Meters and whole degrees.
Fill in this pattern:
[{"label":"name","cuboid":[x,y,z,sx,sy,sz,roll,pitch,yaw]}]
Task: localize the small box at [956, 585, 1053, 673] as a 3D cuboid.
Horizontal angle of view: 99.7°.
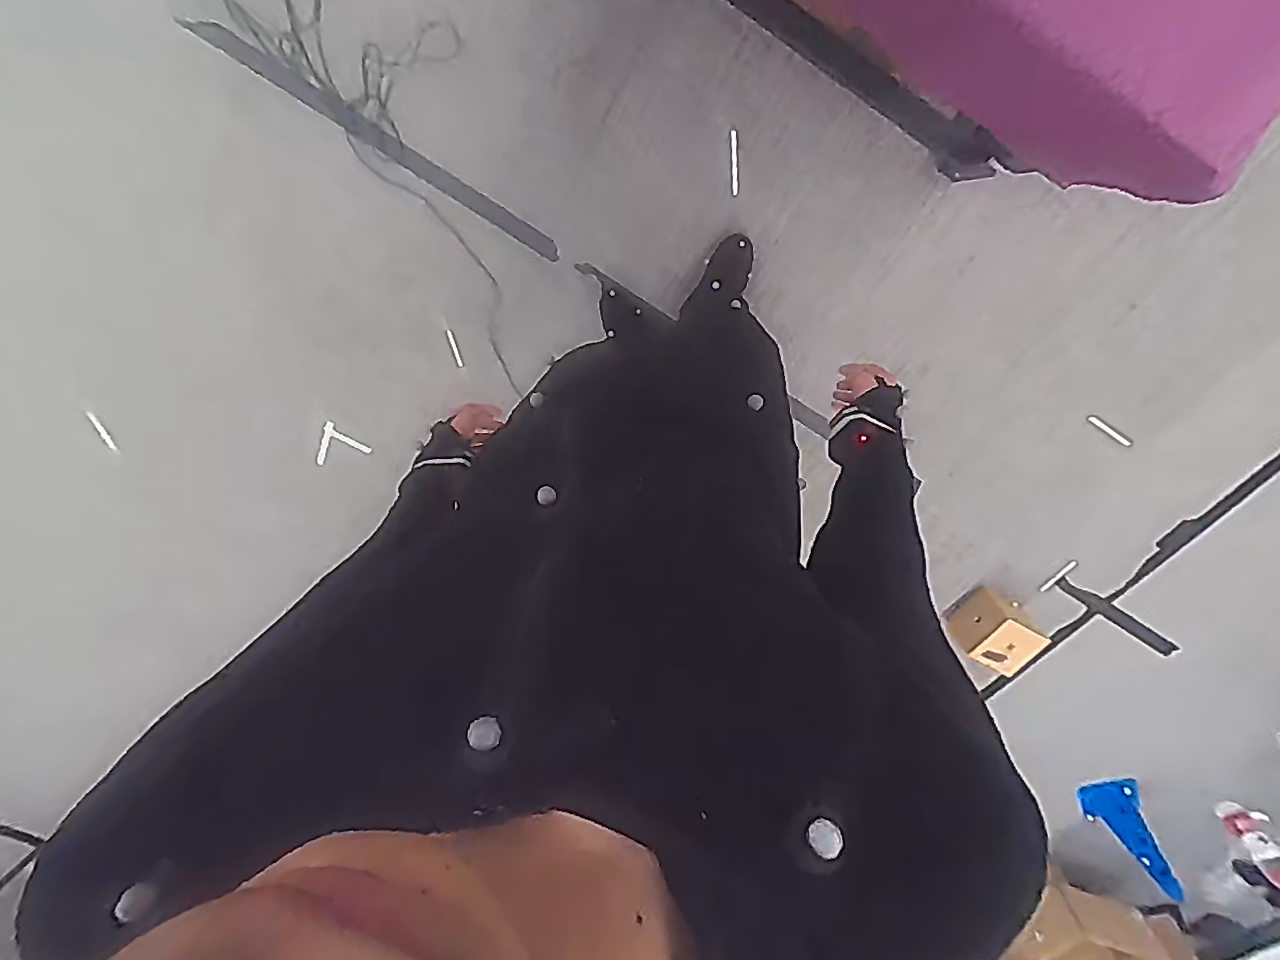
[{"label":"small box","cuboid":[1.151,0.473,1.732,0.168,0.176,0.179,28,116,-7]}]
